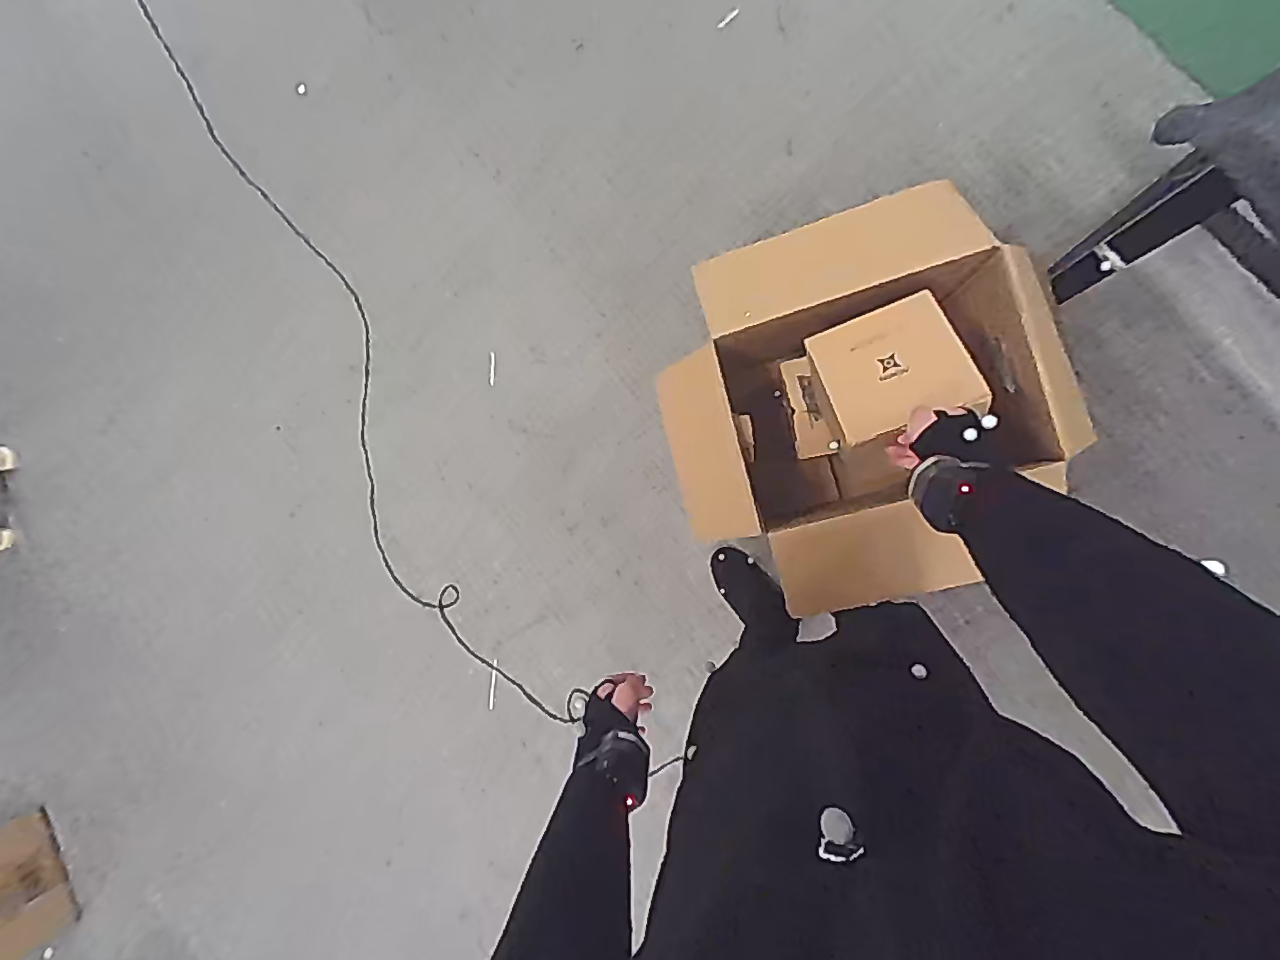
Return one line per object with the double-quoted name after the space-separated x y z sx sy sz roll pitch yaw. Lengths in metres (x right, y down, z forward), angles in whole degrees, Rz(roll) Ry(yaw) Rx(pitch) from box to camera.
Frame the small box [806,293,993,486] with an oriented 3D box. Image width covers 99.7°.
0.344 -0.109 0.738 0.168 0.176 0.179 -21 59 14 "small box"
